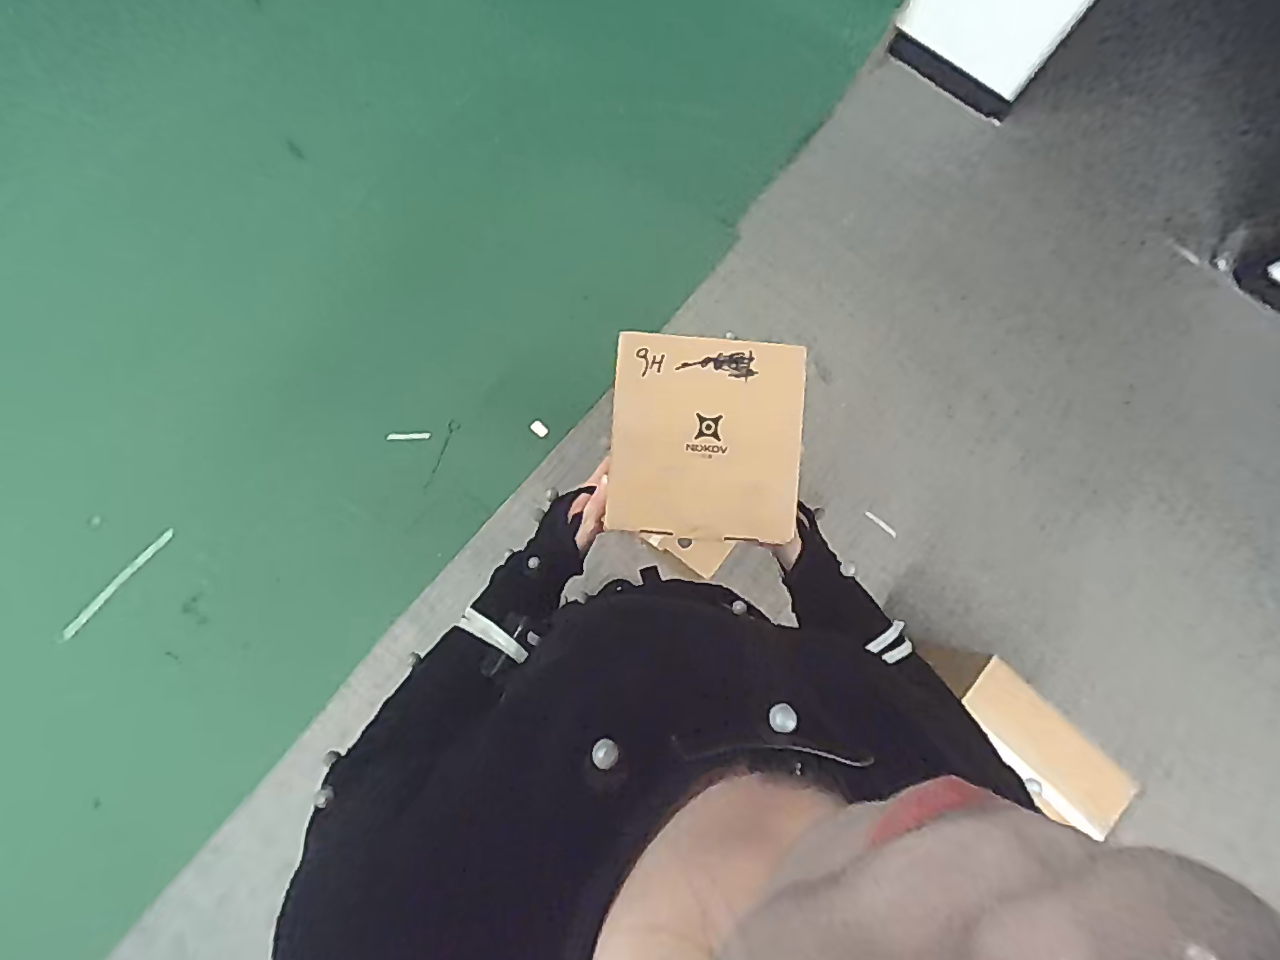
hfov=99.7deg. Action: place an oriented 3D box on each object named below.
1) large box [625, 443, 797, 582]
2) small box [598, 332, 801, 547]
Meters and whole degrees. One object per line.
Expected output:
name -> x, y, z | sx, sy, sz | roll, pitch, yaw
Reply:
large box -> 0.137, 0.016, 1.427 | 0.320, 0.320, 0.408 | 38, 78, 5
small box -> 0.050, -0.034, 0.547 | 0.168, 0.176, 0.179 | 5, 89, -2
